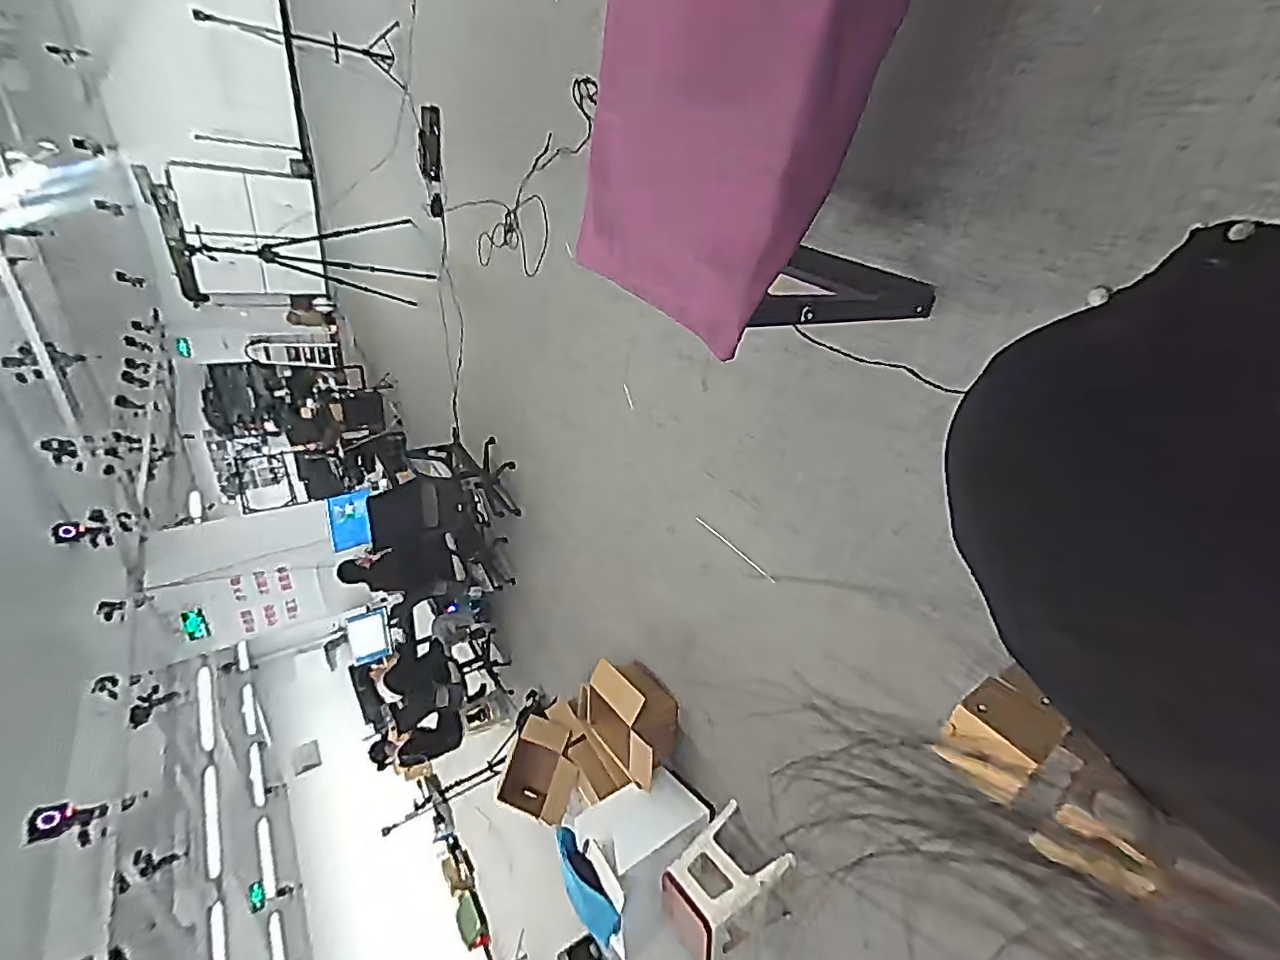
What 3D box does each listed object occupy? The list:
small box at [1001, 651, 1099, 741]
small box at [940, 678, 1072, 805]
[{"bbox_3d":[0.986,0.564,1.341,0.168,0.176,0.179,39,133,42],"label":"small box"},{"bbox_3d":[0.850,0.598,1.257,0.179,0.176,0.168,39,132,43],"label":"small box"}]
